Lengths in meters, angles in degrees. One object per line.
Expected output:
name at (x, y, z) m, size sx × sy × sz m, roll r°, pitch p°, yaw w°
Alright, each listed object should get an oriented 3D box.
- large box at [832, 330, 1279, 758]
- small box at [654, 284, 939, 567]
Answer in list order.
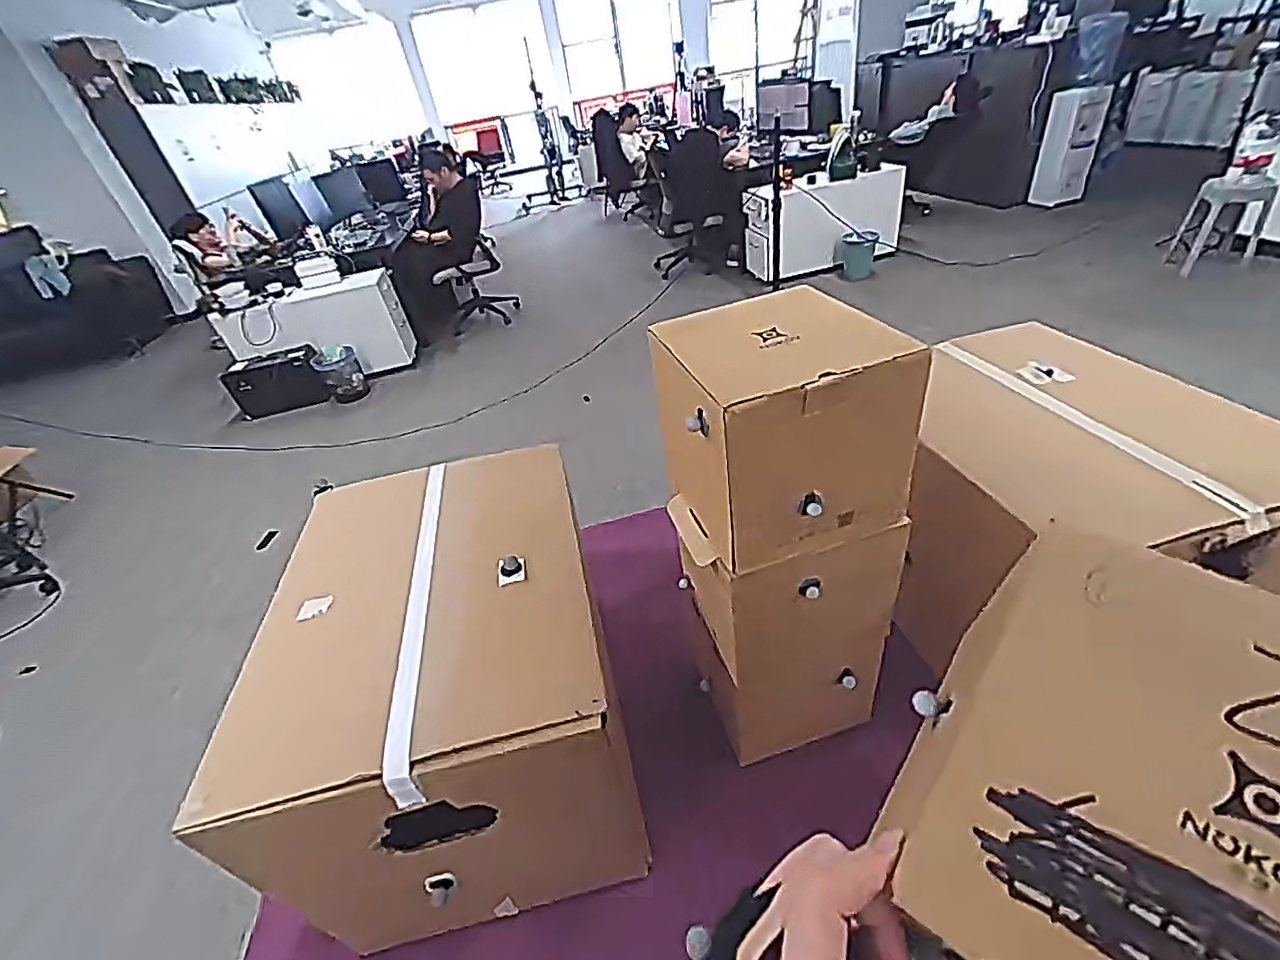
large box at (0.482, 0.051, 0.687) m, size 0.320 × 0.320 × 0.408 m, roll -14°, pitch 35°, yaw -5°
small box at (0.121, -0.054, 0.482) m, size 0.168 × 0.176 × 0.179 m, roll -17°, pitch 37°, yaw -9°
